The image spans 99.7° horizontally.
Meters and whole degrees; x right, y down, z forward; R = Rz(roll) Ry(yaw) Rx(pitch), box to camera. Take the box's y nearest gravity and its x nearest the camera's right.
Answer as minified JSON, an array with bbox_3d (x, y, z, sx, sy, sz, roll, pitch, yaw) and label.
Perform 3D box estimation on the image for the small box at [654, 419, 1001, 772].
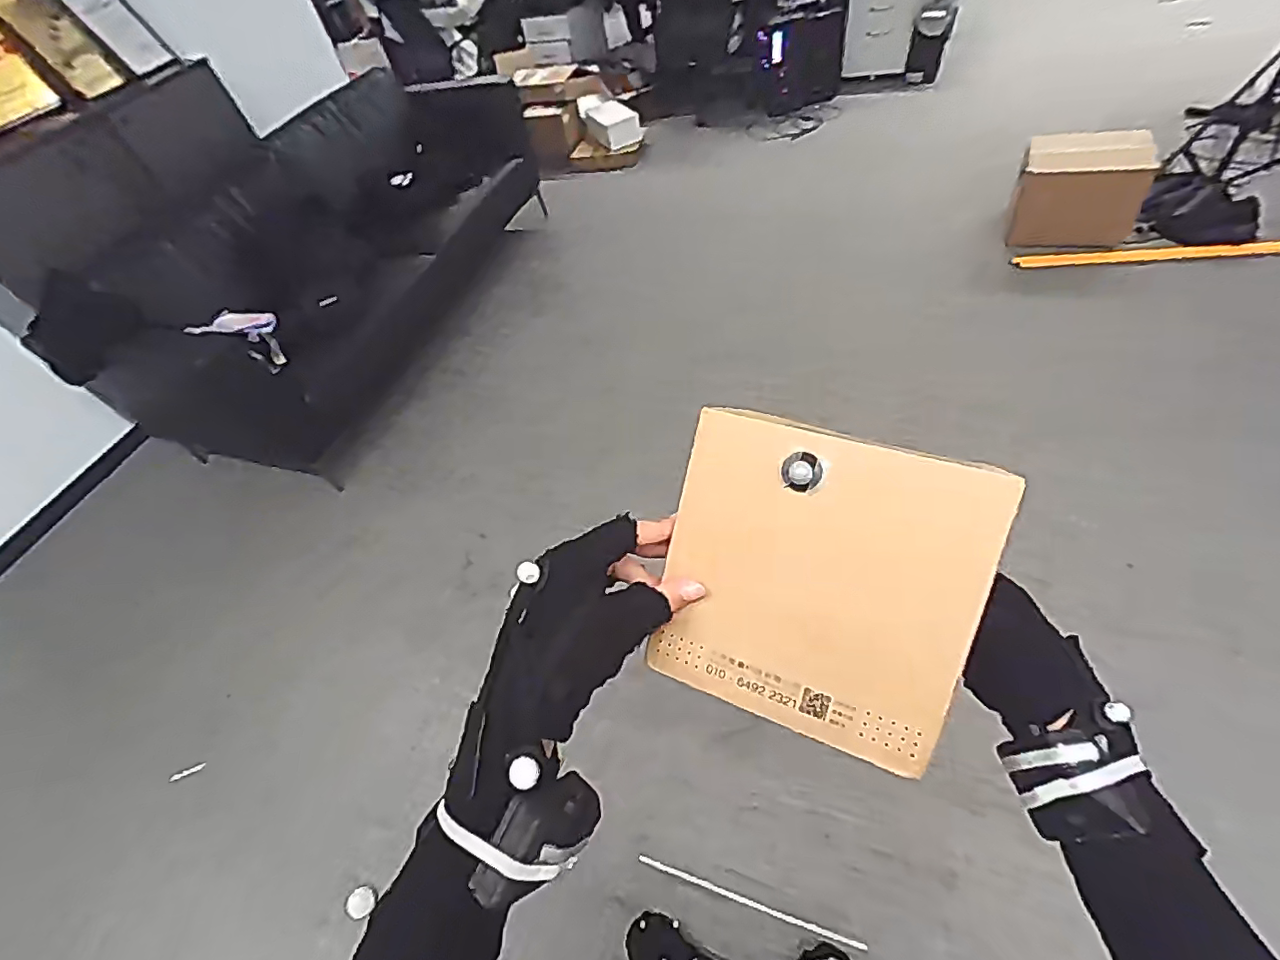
[{"bbox_3d":[0.123,0.060,0.385,0.168,0.179,0.176,15,99,21],"label":"small box"}]
